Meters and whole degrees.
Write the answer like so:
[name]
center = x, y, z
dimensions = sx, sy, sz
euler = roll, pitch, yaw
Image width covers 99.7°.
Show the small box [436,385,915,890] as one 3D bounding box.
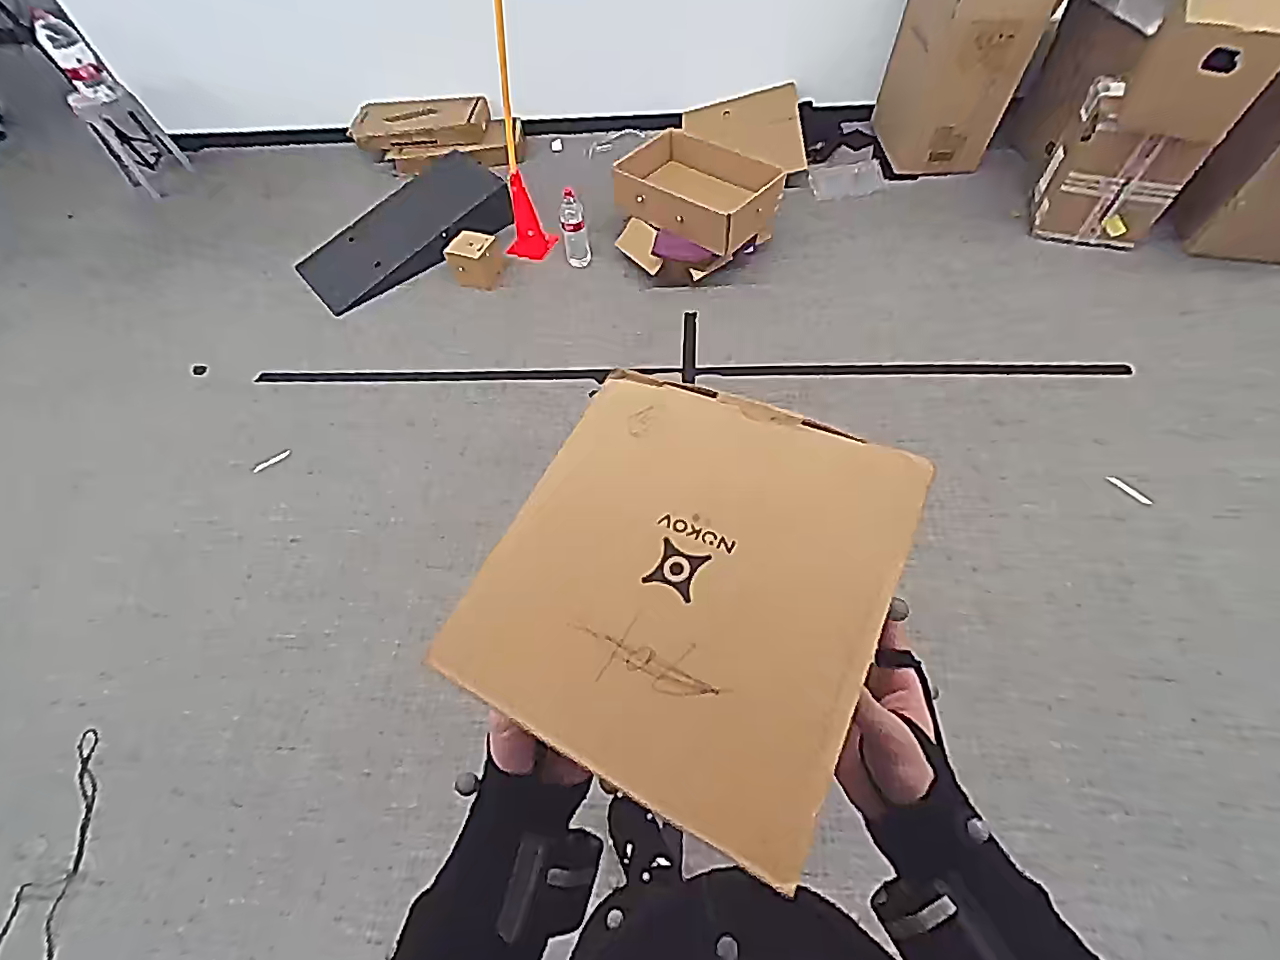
[small box]
center = 0.030, 0.081, 0.311
dimensions = 0.168, 0.176, 0.179
euler = 20, 68, 22
